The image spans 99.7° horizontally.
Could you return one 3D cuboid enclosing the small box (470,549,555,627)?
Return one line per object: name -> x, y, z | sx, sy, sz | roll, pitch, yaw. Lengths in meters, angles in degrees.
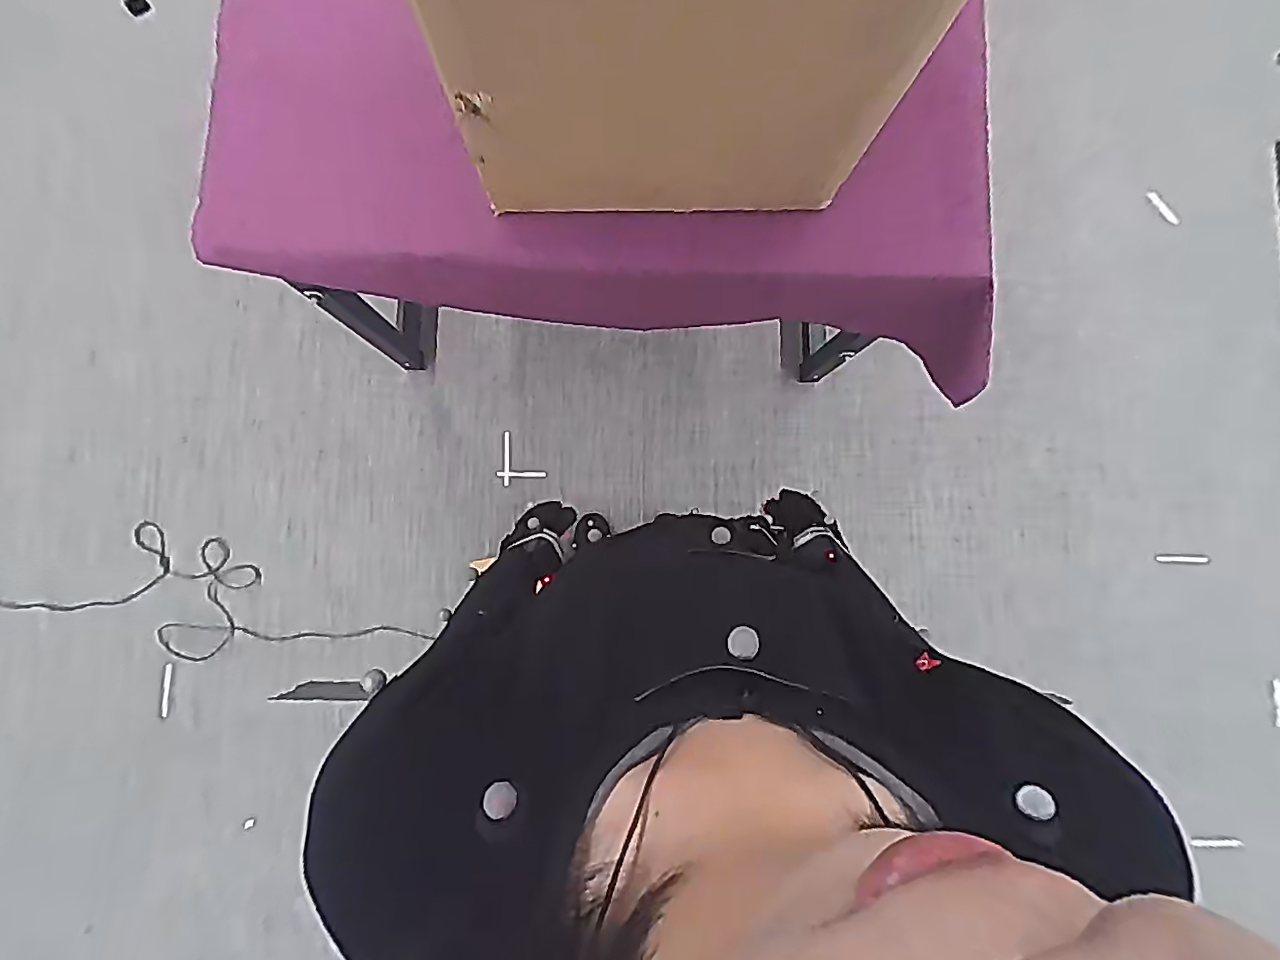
small box -> -0.326, 0.276, 1.410 | 0.179, 0.176, 0.168 | -9, 86, -5
